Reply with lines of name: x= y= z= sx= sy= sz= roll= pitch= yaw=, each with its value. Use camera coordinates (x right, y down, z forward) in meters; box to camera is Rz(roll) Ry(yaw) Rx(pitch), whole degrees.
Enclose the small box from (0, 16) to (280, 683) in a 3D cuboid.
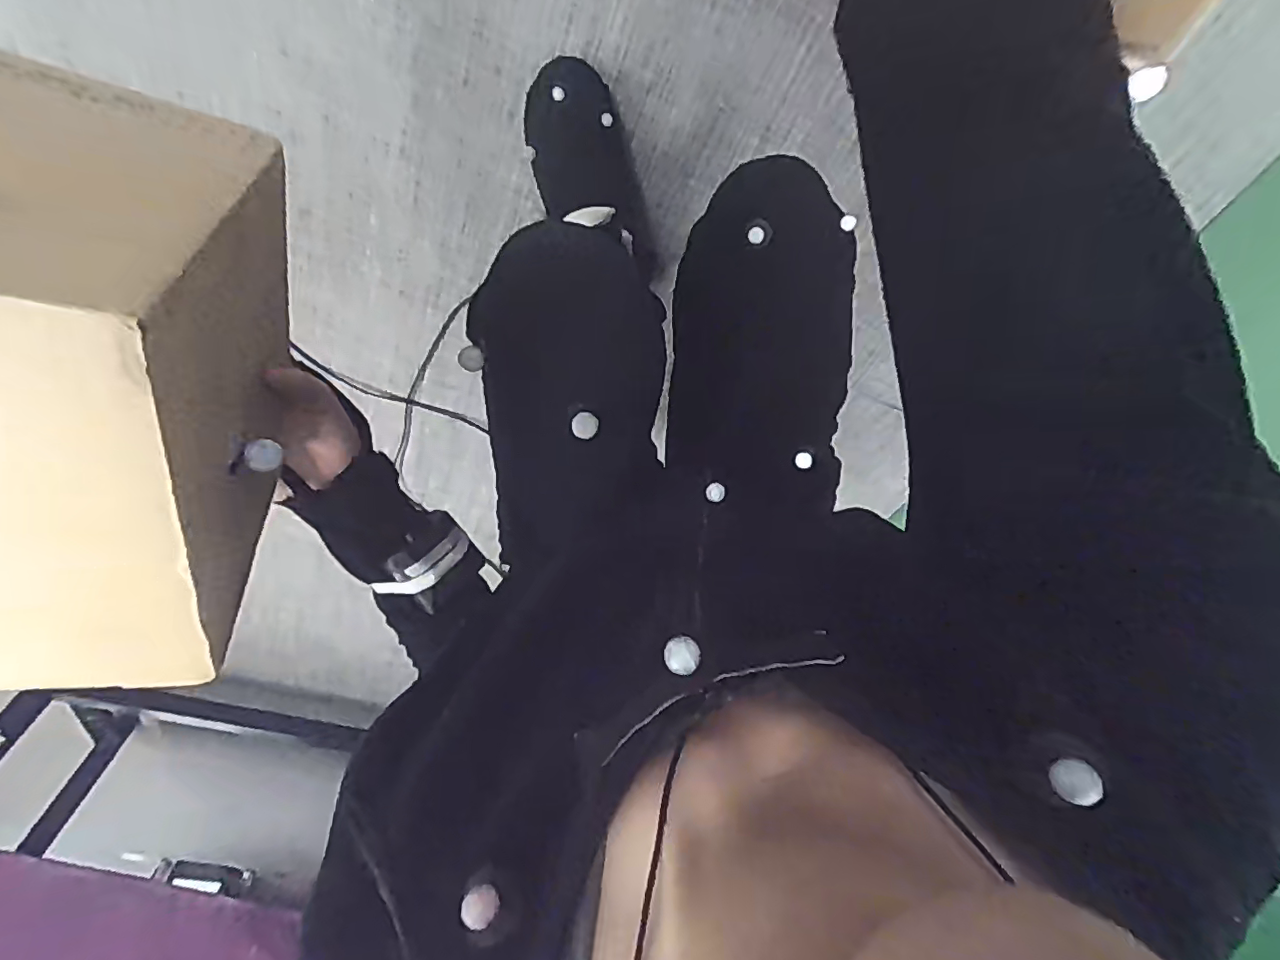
small box: x=-0.239 y=-0.047 z=0.189 sx=0.168 sy=0.176 sz=0.179 roll=7 pitch=131 yaw=-26
